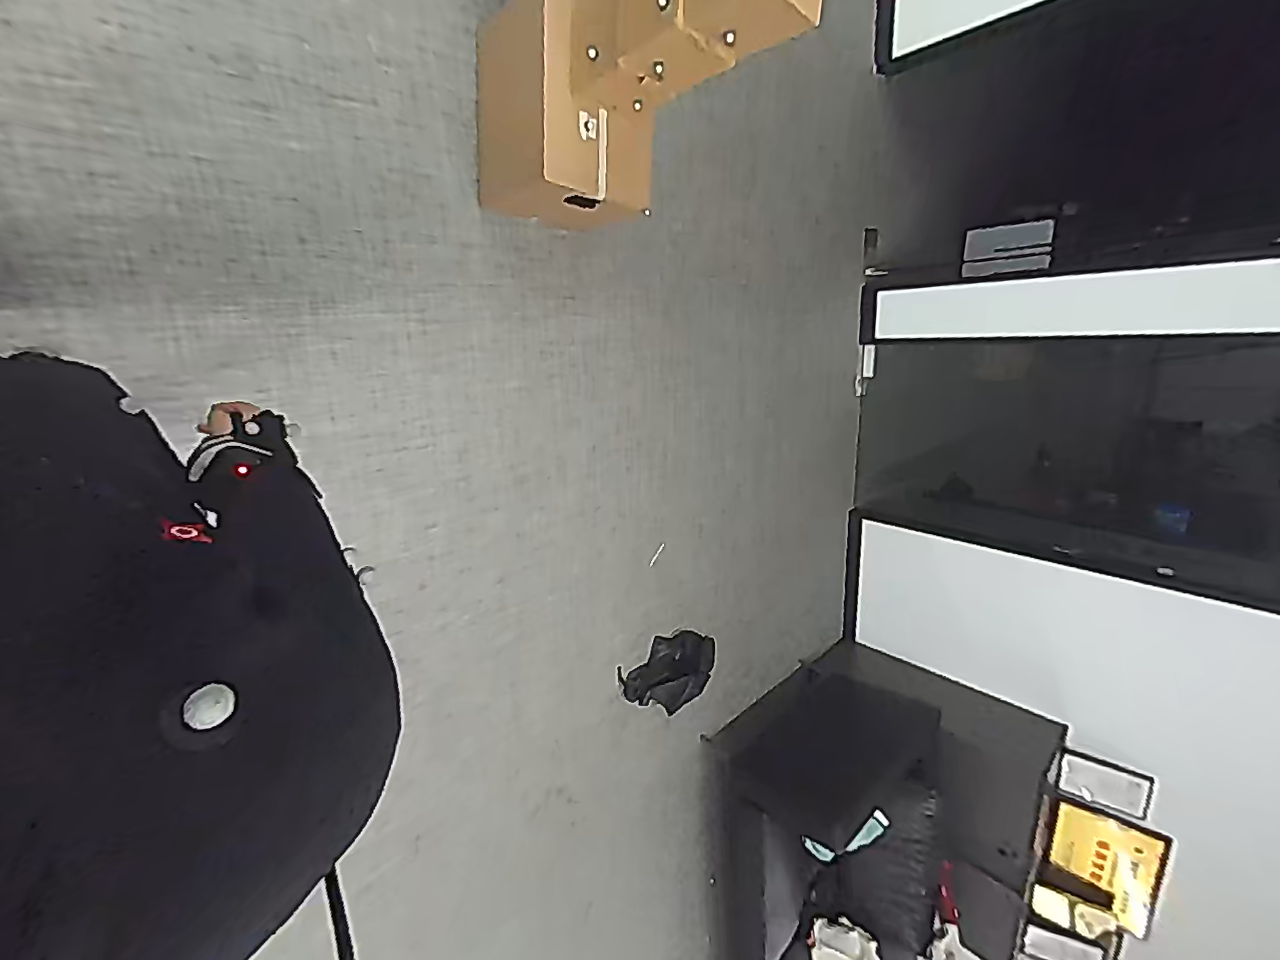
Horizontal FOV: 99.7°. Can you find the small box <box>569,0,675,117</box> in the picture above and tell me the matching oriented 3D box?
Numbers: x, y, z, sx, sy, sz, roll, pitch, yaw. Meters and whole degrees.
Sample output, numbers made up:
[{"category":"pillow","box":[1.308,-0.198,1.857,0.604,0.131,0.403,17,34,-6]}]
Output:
[{"category":"small box","box":[-0.037,-0.901,1.135,0.168,0.176,0.179,-9,106,-43]}]

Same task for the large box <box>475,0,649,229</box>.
[{"category":"large box","box":[-0.193,-0.879,1.331,0.320,0.320,0.408,-9,107,-41]}]

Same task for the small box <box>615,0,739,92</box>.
[{"category":"small box","box":[0.068,-0.877,1.013,0.168,0.176,0.179,-7,106,-43]}]
